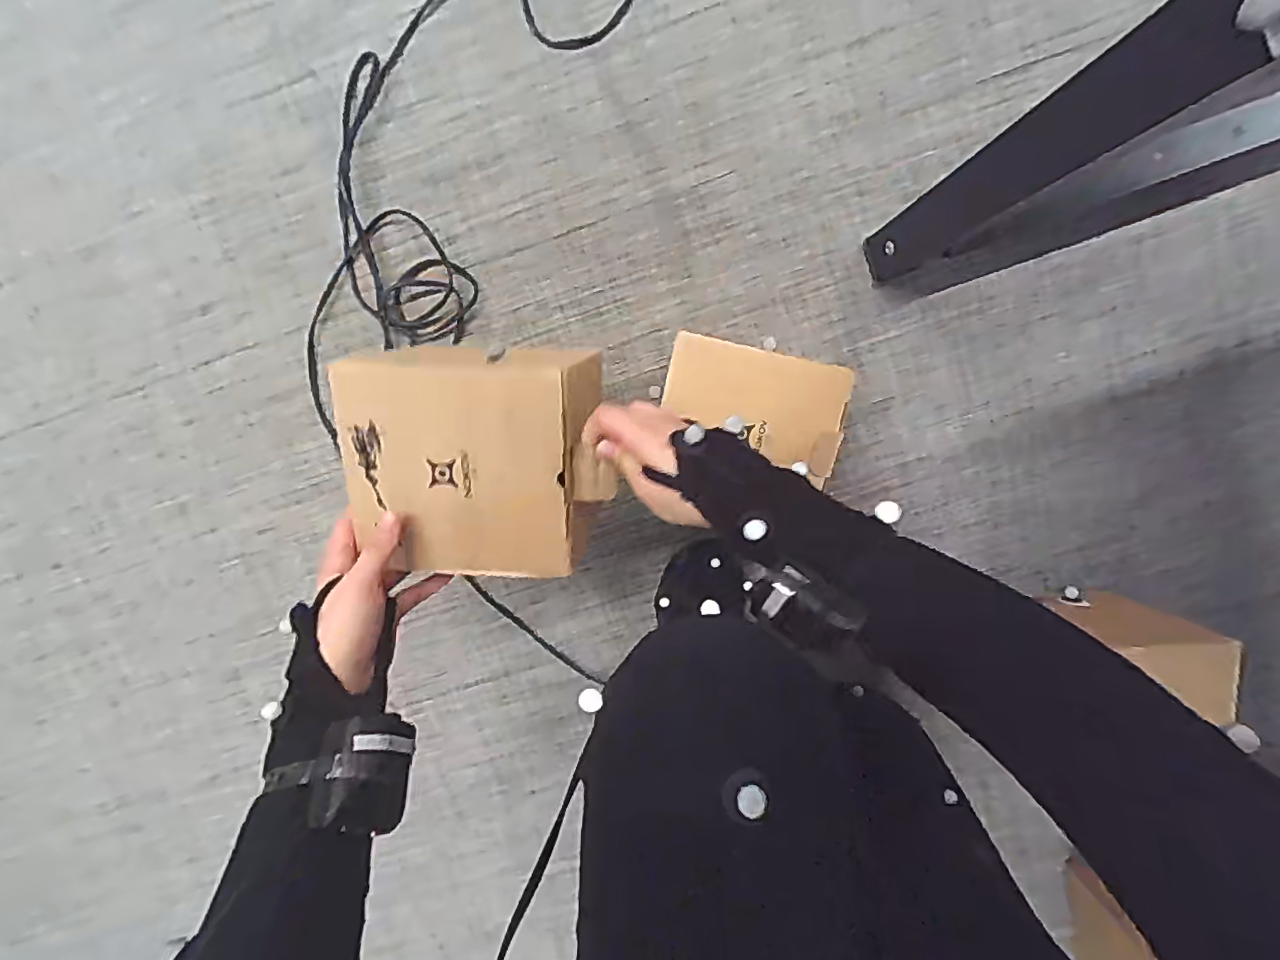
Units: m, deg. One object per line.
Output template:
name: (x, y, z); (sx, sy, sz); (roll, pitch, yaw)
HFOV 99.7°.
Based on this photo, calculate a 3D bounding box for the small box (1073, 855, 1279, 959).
small box: (0.677, 0.599, 0.663); (0.168, 0.176, 0.179); (-12, 98, 4)

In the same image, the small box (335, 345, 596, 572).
small box: (-0.135, -0.031, 0.490); (0.179, 0.176, 0.168); (3, 108, 3)
